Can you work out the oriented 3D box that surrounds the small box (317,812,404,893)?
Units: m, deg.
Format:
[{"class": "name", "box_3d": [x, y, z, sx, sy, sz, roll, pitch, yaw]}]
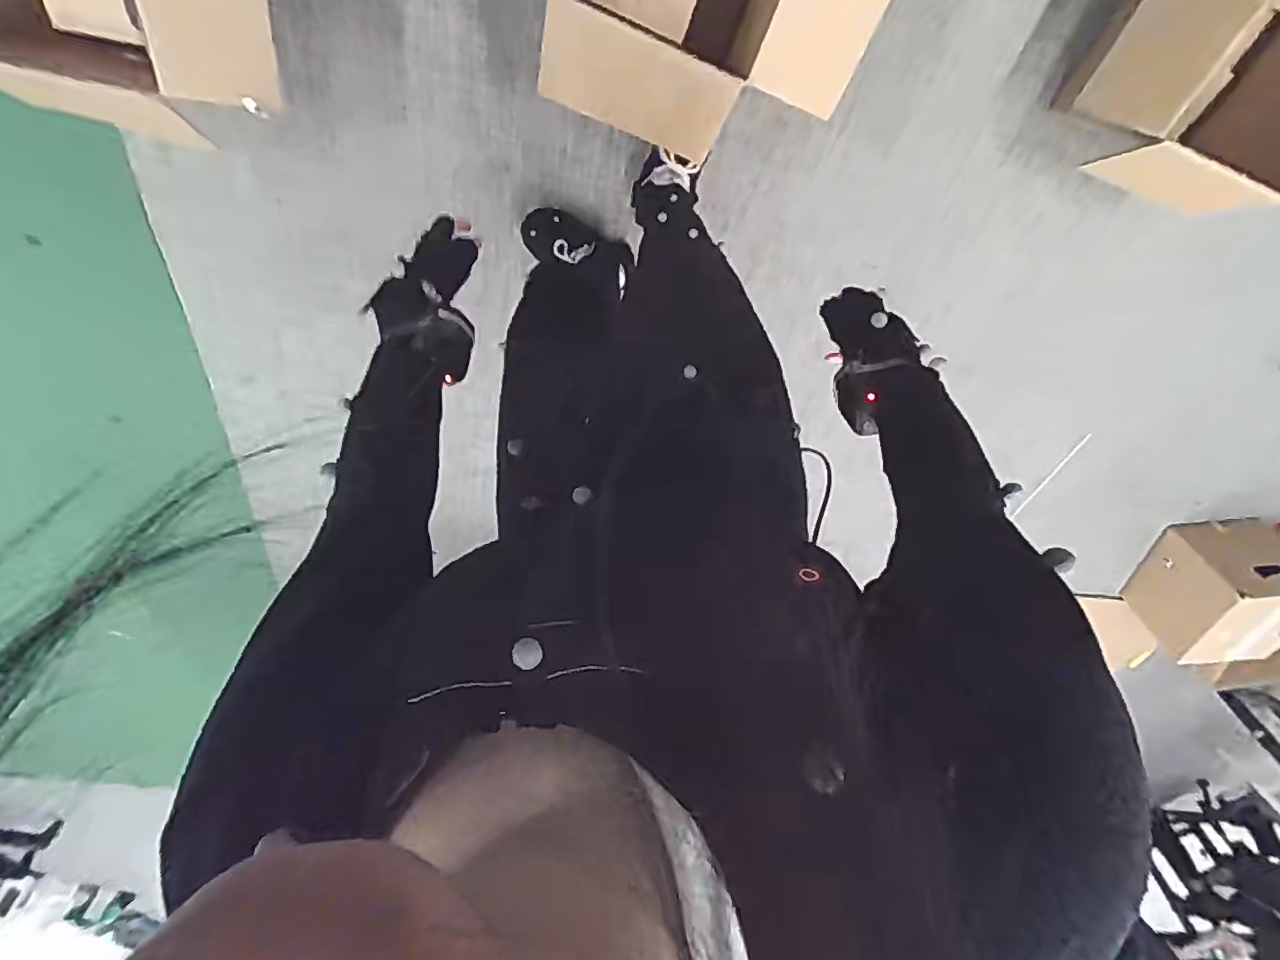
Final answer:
[{"class": "small box", "box_3d": [-0.786, 1.070, 1.541, 0.168, 0.176, 0.179, 7, 131, -9]}]
